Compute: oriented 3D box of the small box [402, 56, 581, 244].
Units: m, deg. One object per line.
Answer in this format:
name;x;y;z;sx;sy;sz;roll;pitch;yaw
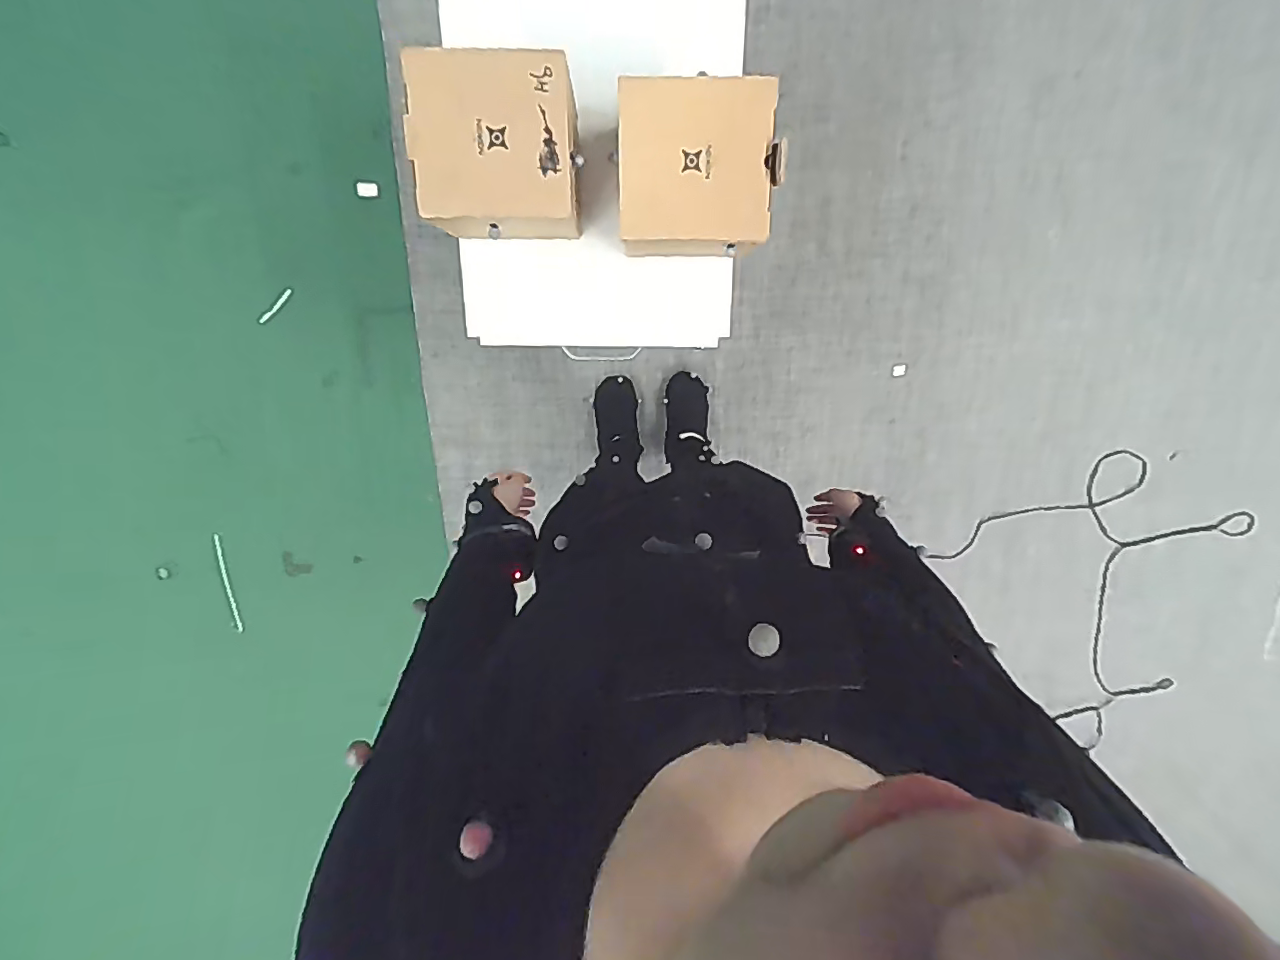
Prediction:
small box;-0.169;-0.392;0.673;0.179;0.176;0.168;-1;107;-2
